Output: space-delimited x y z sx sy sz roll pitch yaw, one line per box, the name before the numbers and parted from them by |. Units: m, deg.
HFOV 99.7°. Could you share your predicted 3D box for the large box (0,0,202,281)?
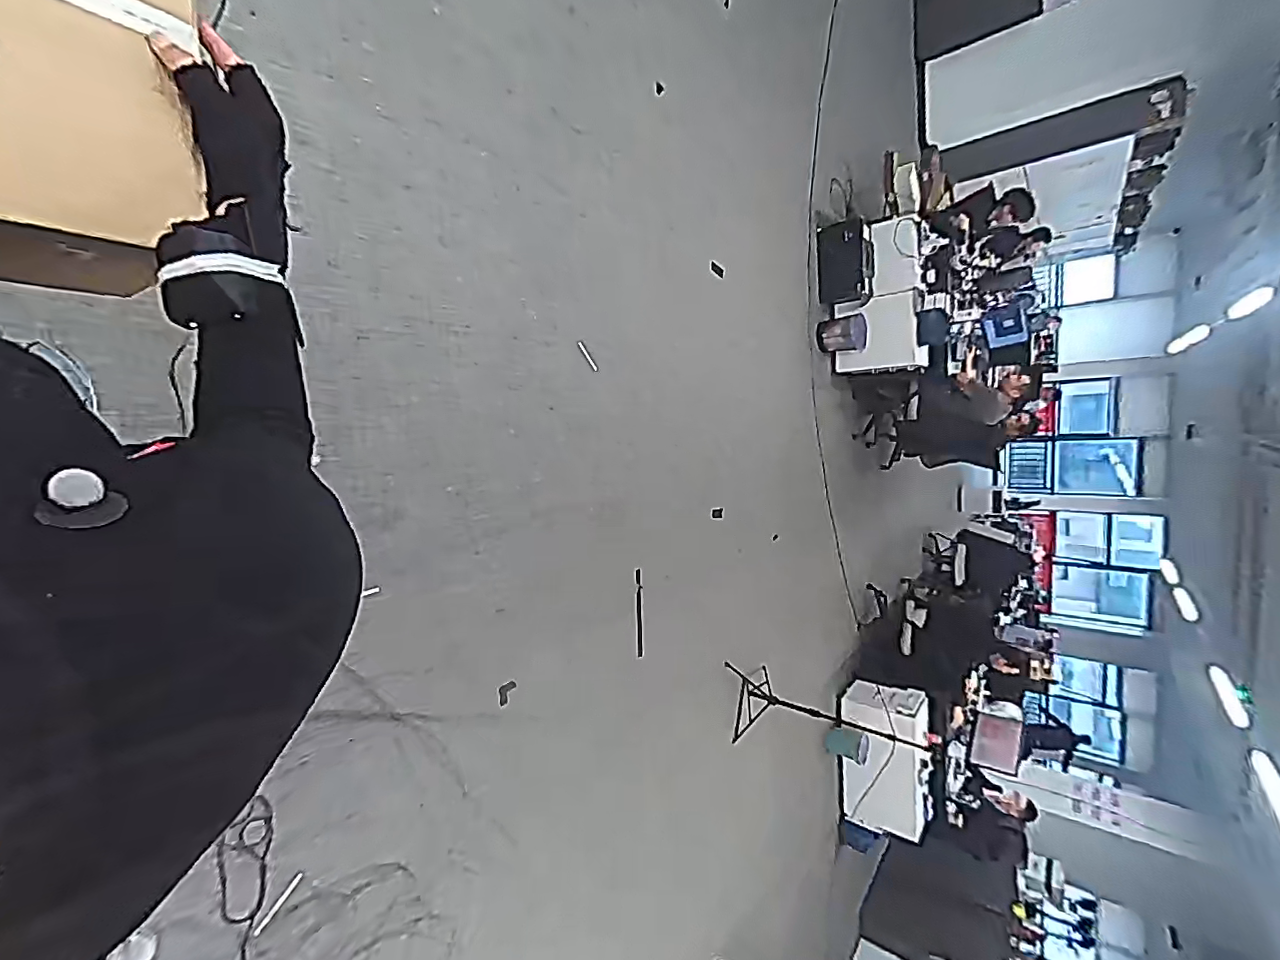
large box | -0.590 -0.341 0.352 0.408 0.320 0.320 -7 103 -52
